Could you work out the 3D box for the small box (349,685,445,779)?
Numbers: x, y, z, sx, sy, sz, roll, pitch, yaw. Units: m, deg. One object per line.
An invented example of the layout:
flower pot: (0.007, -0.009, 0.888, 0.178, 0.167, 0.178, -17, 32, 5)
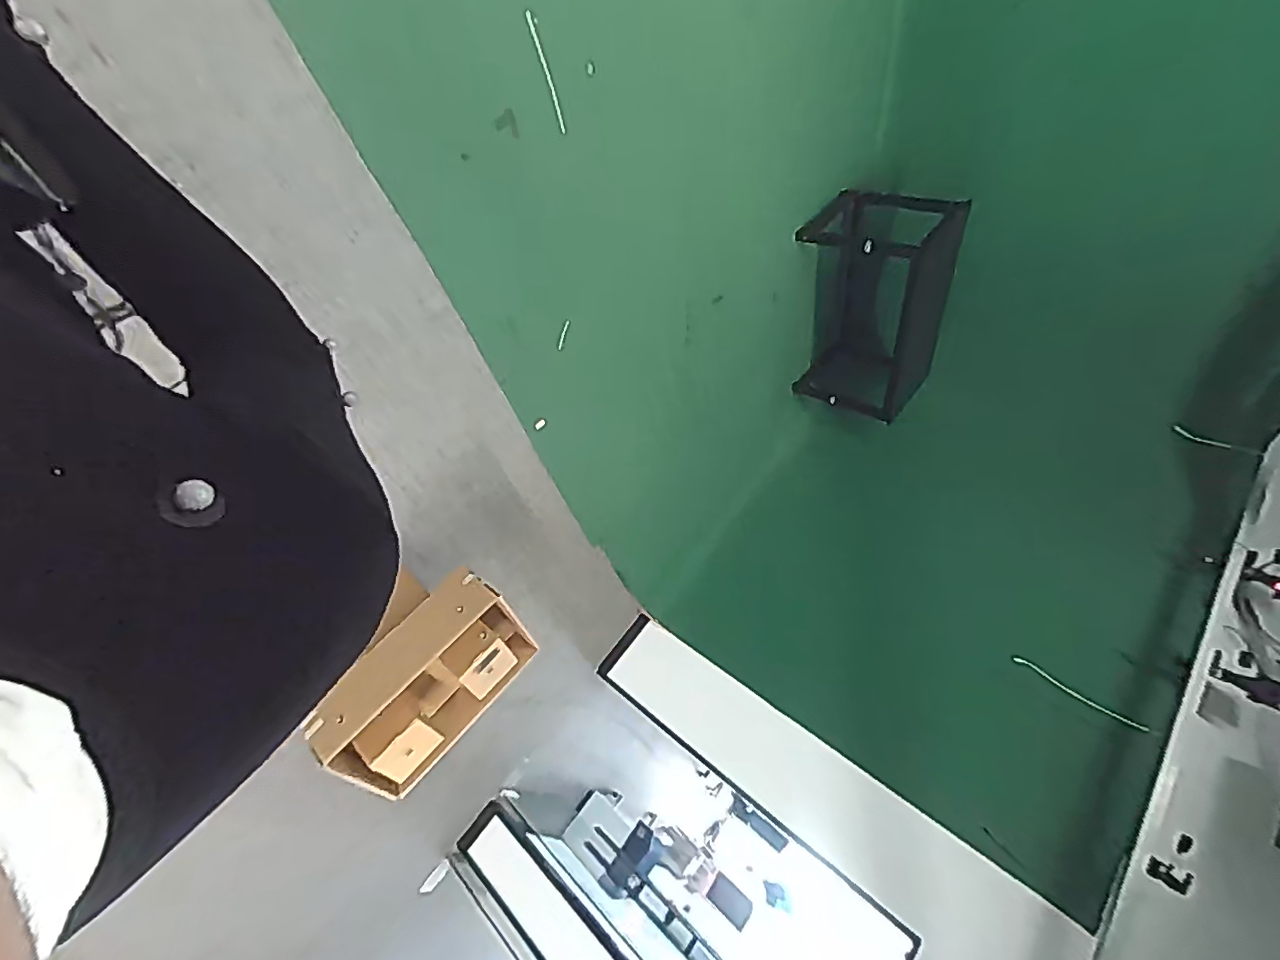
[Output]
small box: (-0.726, 0.750, 1.618, 0.168, 0.176, 0.179, -44, 141, -24)
